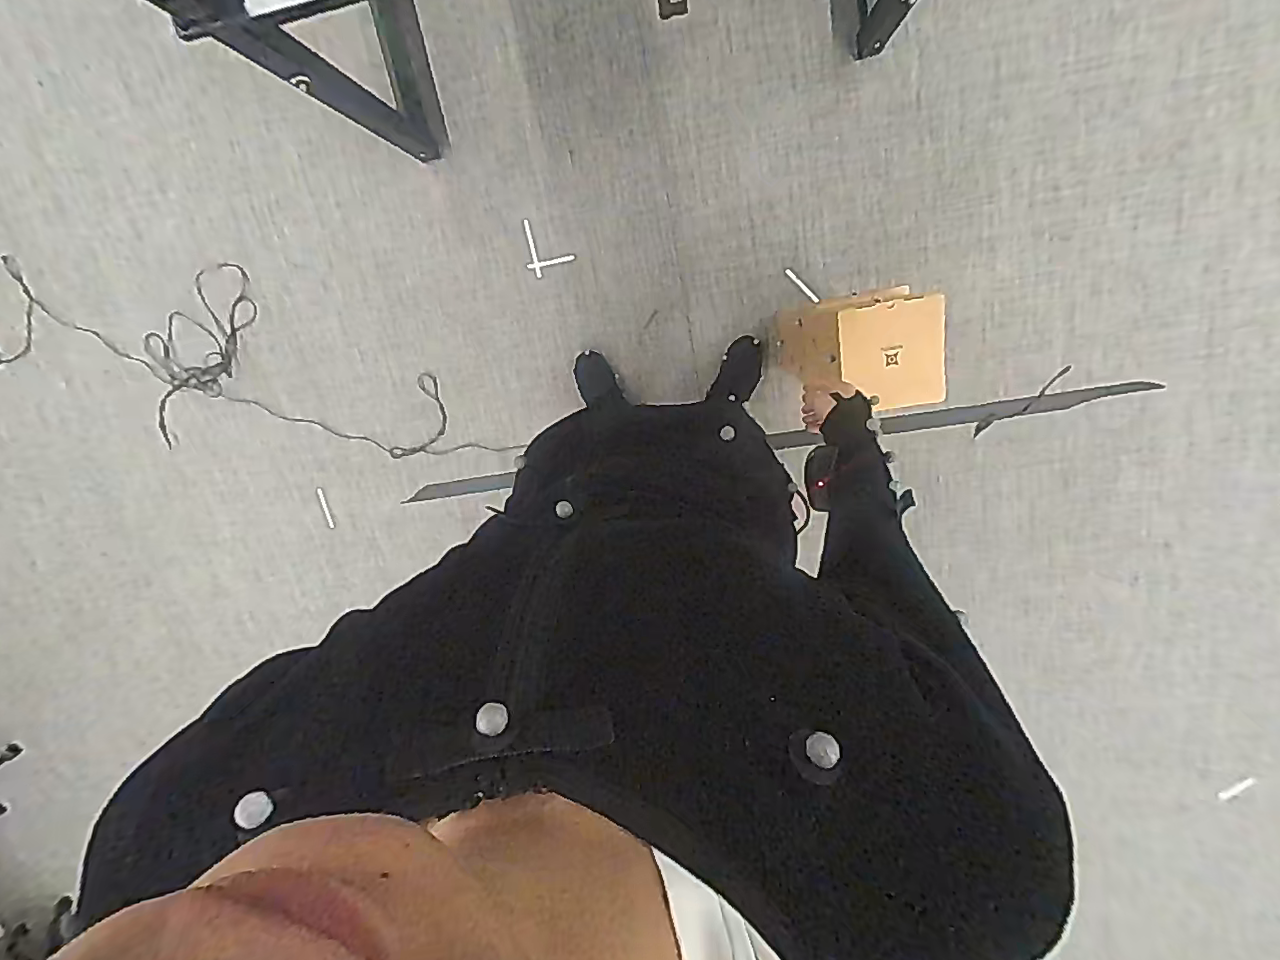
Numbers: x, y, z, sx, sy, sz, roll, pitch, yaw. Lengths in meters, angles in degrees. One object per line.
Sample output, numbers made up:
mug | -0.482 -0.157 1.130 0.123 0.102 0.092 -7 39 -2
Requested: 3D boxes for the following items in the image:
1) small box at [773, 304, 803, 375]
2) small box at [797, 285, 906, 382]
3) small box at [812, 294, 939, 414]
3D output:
small box | 0.459 -0.382 1.423 0.179 0.176 0.168 -9 106 8
small box | 0.427 -0.294 1.108 0.179 0.176 0.168 -11 107 7
small box | 0.410 -0.227 0.960 0.168 0.176 0.179 -8 106 7
